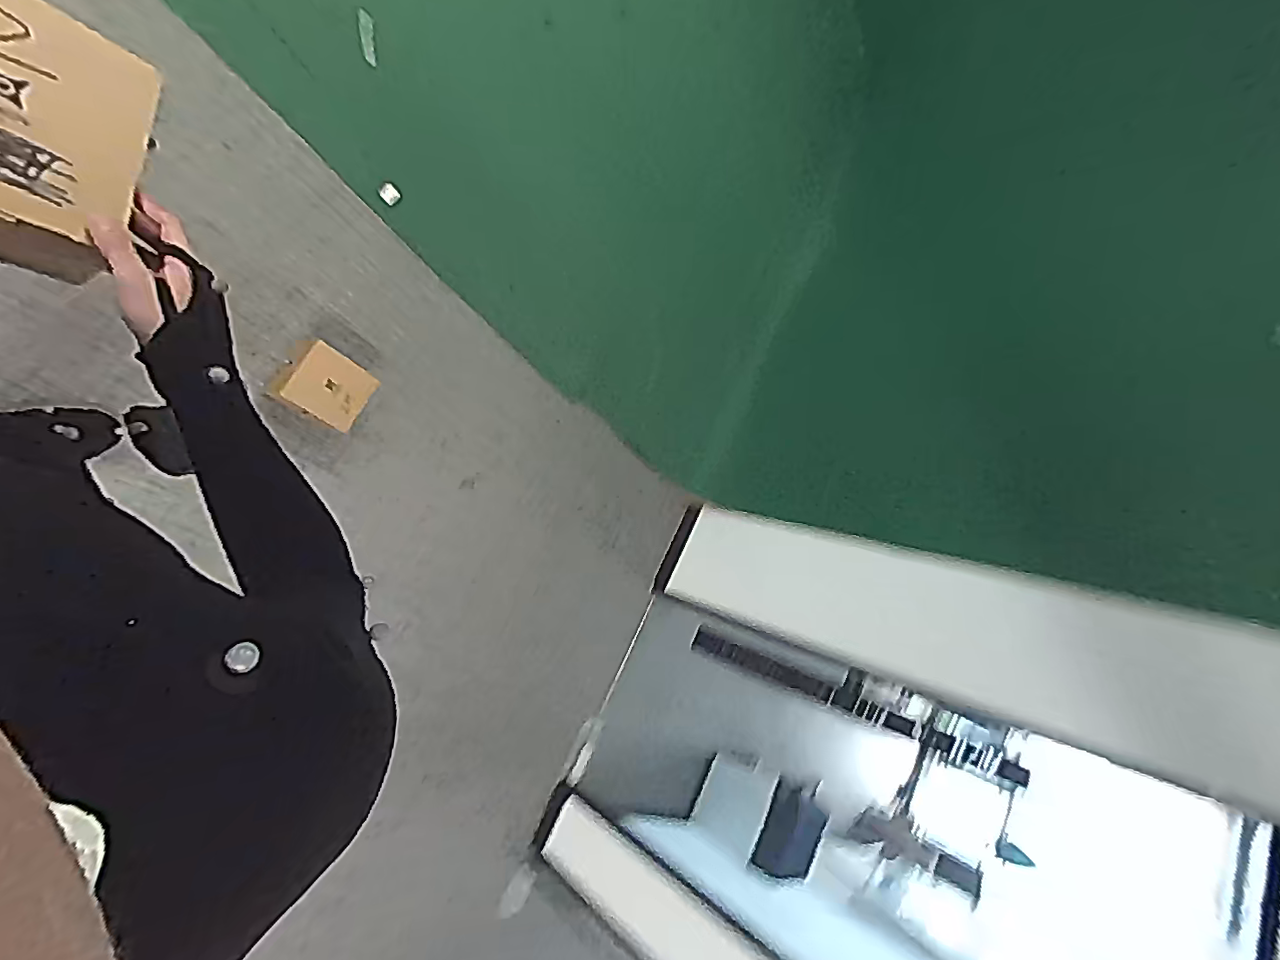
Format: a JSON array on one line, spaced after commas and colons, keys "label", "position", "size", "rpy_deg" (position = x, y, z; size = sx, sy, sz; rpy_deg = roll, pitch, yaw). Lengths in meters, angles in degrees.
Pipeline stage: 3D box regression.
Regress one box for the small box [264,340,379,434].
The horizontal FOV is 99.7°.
[{"label": "small box", "position": [-0.825, -0.238, 1.395], "size": [0.179, 0.176, 0.168], "rpy_deg": [43, 68, -44]}]
